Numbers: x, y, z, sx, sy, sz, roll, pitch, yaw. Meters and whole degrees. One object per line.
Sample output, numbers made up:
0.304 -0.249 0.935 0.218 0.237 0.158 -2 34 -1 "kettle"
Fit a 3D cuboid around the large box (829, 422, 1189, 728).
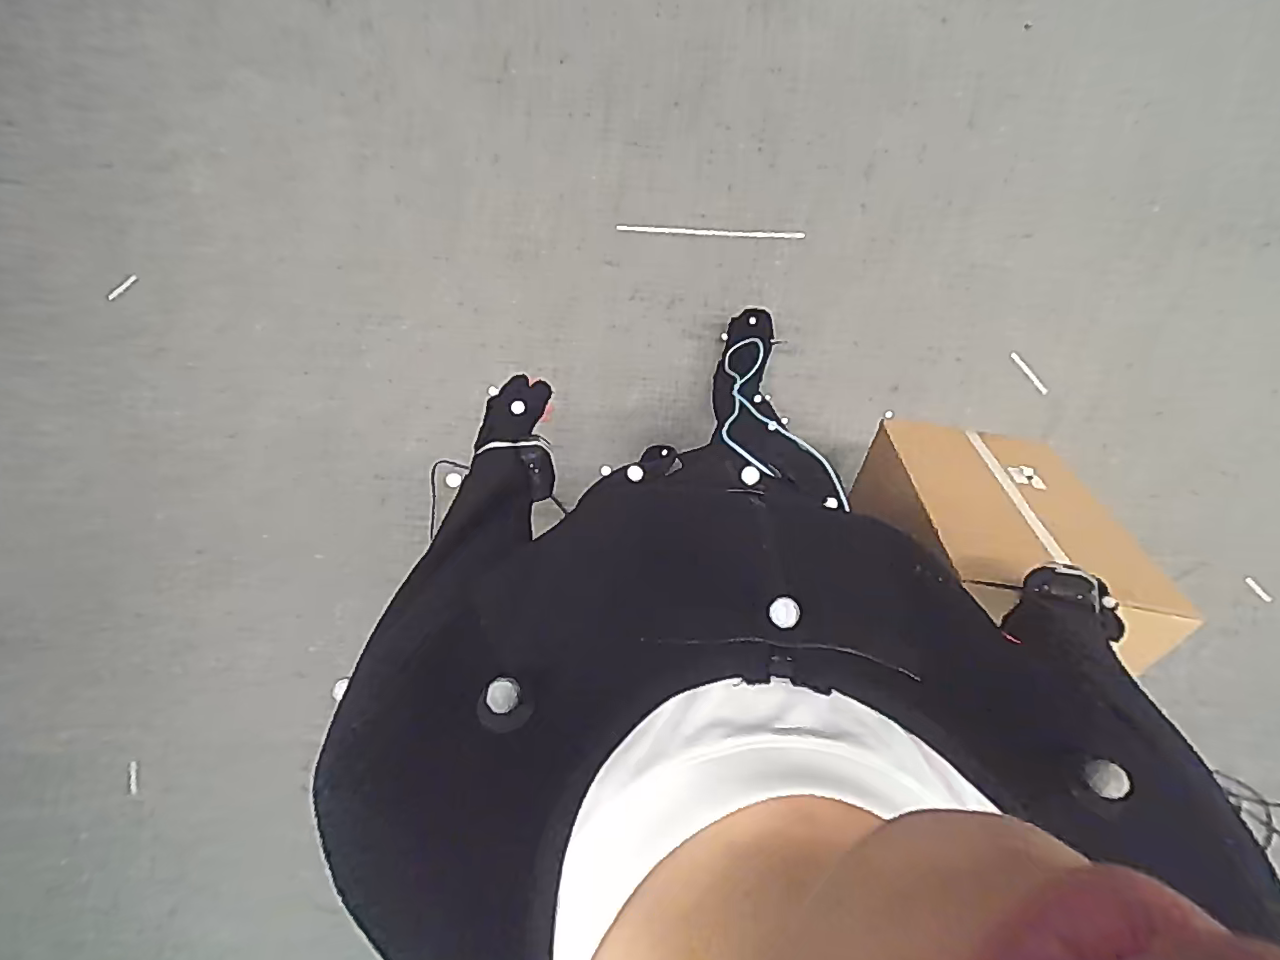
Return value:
0.557 0.149 0.937 0.320 0.408 0.320 10 127 0 "large box"
